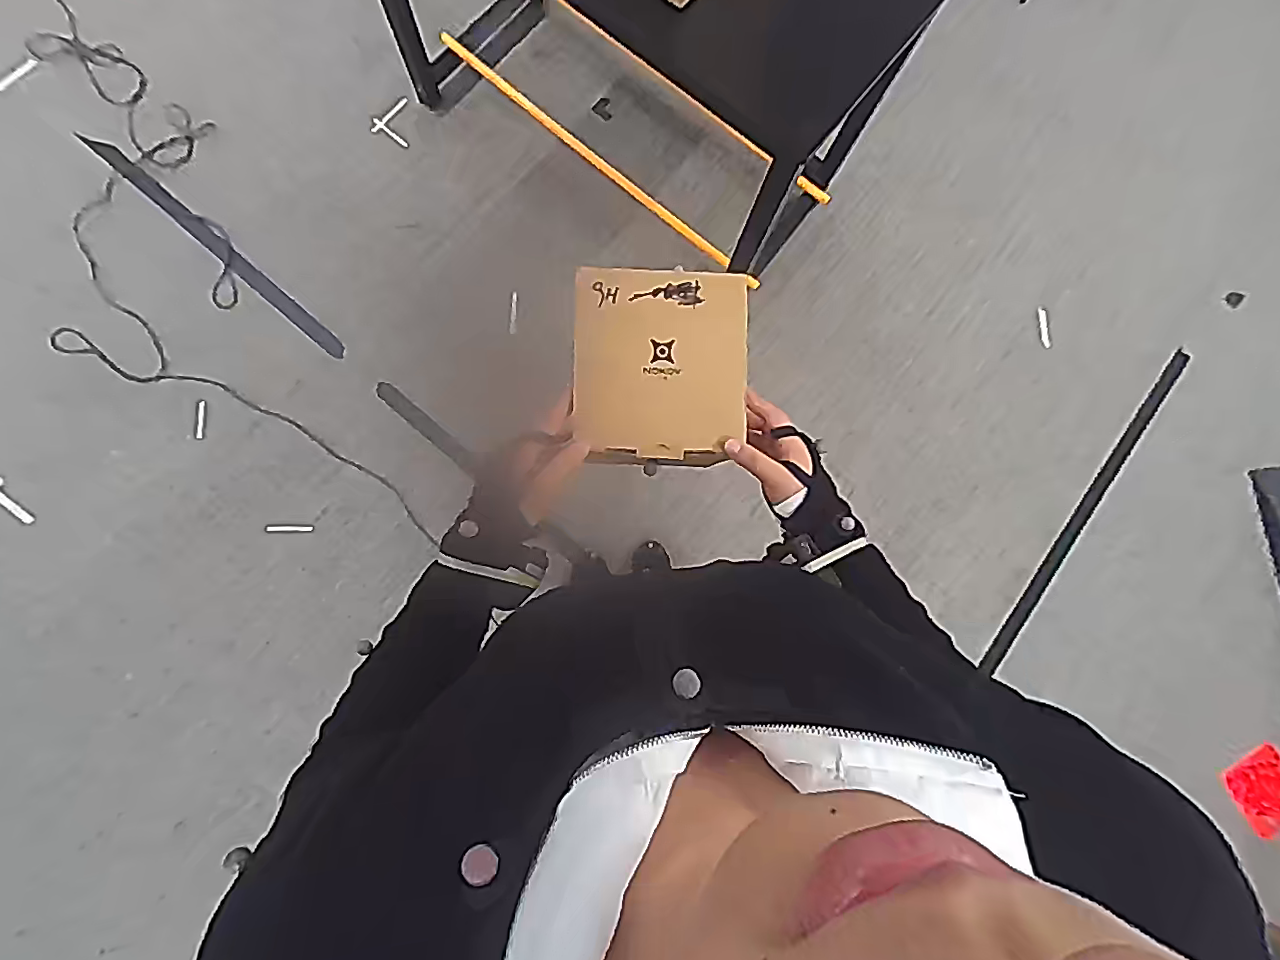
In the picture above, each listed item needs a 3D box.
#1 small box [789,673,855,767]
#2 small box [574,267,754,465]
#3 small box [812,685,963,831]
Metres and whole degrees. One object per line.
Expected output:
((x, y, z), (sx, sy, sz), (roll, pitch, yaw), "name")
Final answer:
((0.477, 0.570, 1.241), (0.179, 0.176, 0.168), (39, 80, 3), "small box")
((0.019, -0.107, 0.581), (0.168, 0.176, 0.179), (1, 89, -4), "small box")
((0.483, 0.539, 1.081), (0.179, 0.176, 0.168), (44, 80, 5), "small box")
